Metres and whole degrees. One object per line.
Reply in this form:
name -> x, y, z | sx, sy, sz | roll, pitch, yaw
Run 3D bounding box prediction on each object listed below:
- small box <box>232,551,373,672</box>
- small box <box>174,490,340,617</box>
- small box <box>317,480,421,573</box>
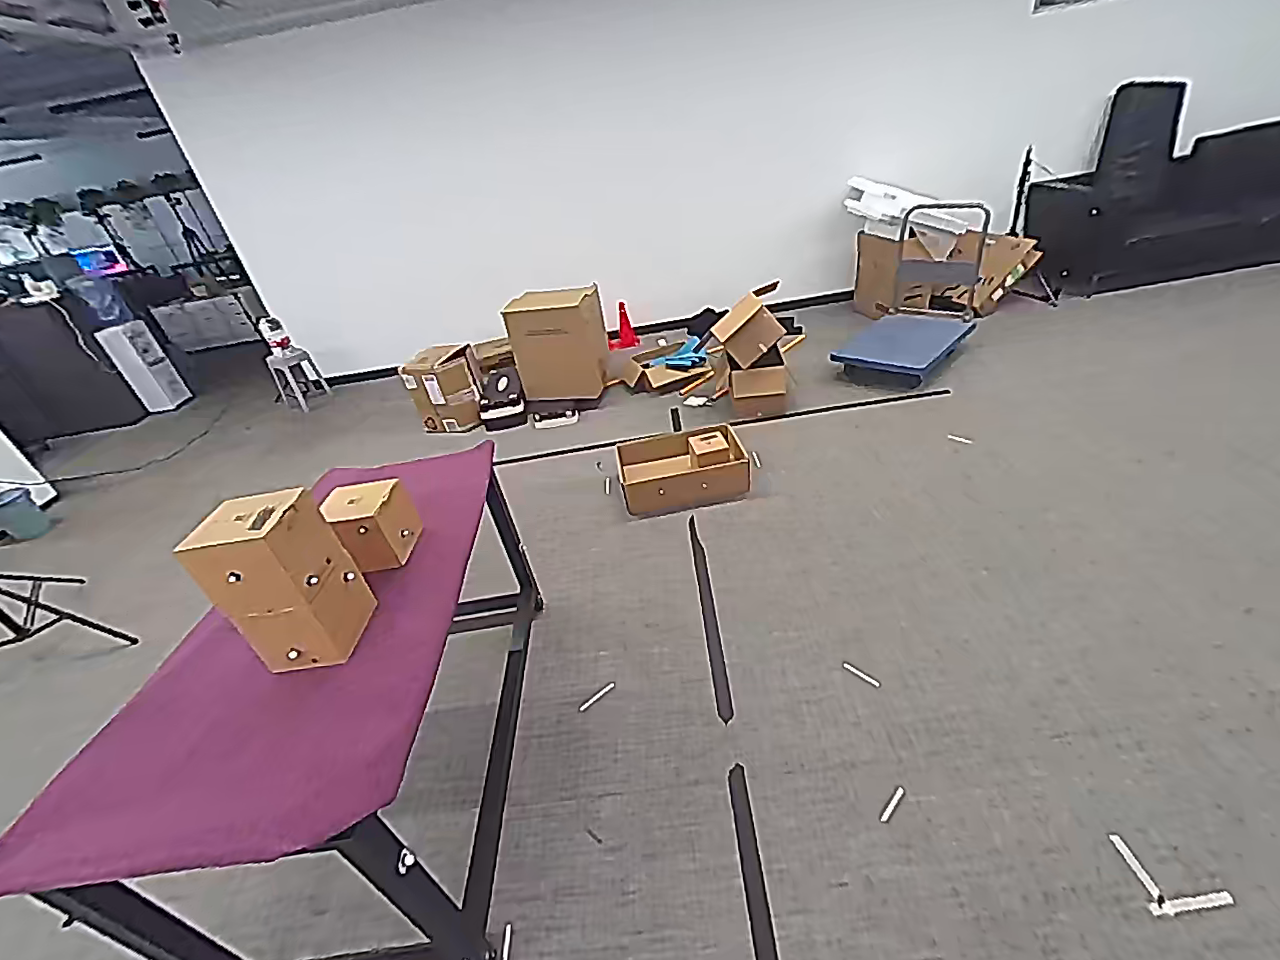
small box -> -0.700, 0.279, 1.152 | 0.168, 0.176, 0.179 | -9, 33, 4
small box -> -0.734, 0.144, 1.064 | 0.179, 0.176, 0.168 | -10, 32, 3
small box -> -0.696, 0.125, 1.388 | 0.179, 0.176, 0.168 | -9, 33, 4
